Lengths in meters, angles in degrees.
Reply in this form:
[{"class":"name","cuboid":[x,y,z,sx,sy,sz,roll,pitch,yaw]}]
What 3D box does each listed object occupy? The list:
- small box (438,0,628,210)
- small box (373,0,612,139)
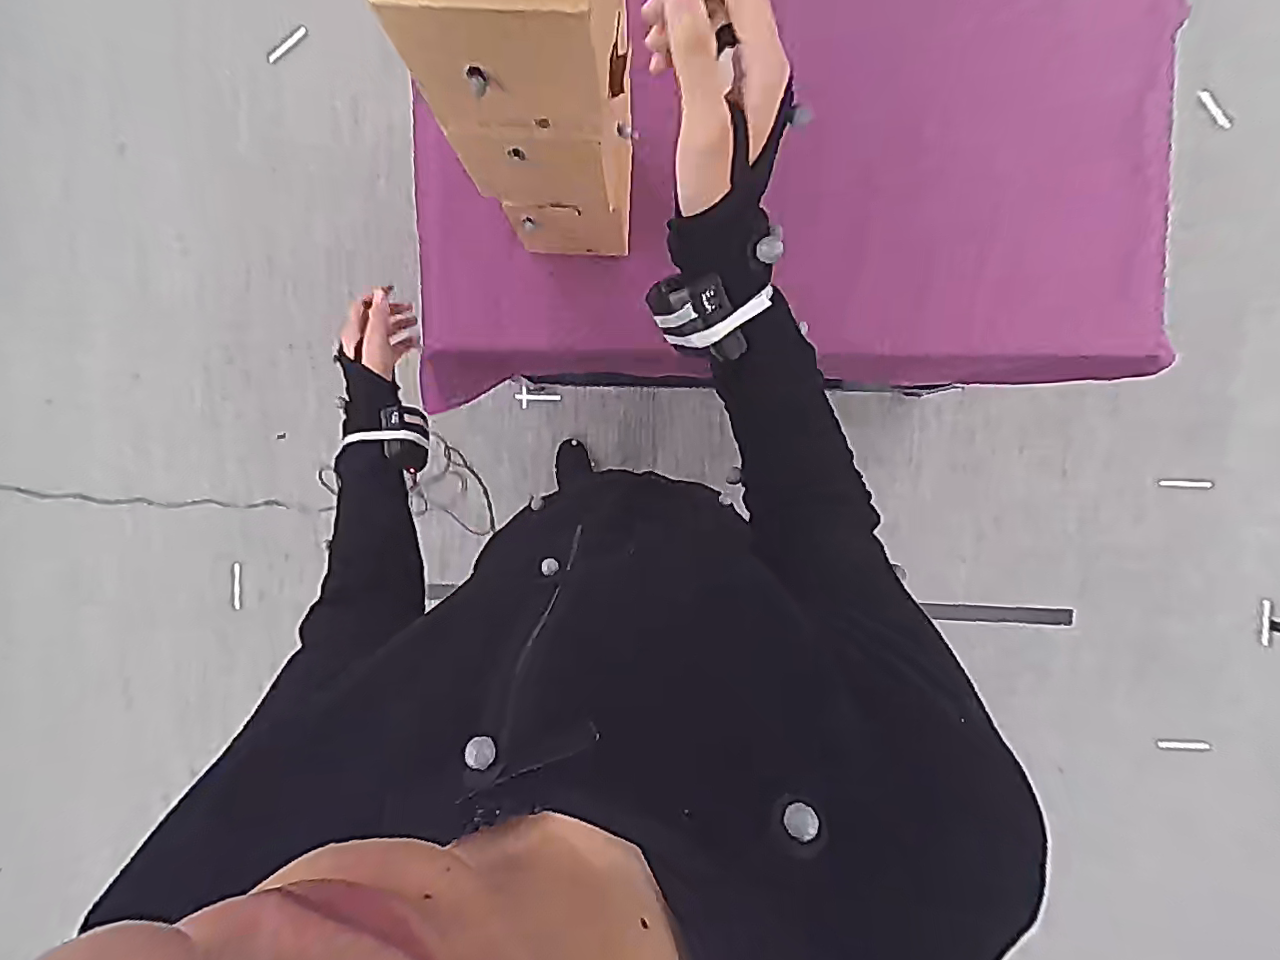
[{"class":"small box","cuboid":[-0.113,-0.444,0.638,0.179,0.176,0.168,9,93,0]},{"class":"small box","cuboid":[-0.113,-0.434,0.476,0.168,0.176,0.179,2,91,0]}]
